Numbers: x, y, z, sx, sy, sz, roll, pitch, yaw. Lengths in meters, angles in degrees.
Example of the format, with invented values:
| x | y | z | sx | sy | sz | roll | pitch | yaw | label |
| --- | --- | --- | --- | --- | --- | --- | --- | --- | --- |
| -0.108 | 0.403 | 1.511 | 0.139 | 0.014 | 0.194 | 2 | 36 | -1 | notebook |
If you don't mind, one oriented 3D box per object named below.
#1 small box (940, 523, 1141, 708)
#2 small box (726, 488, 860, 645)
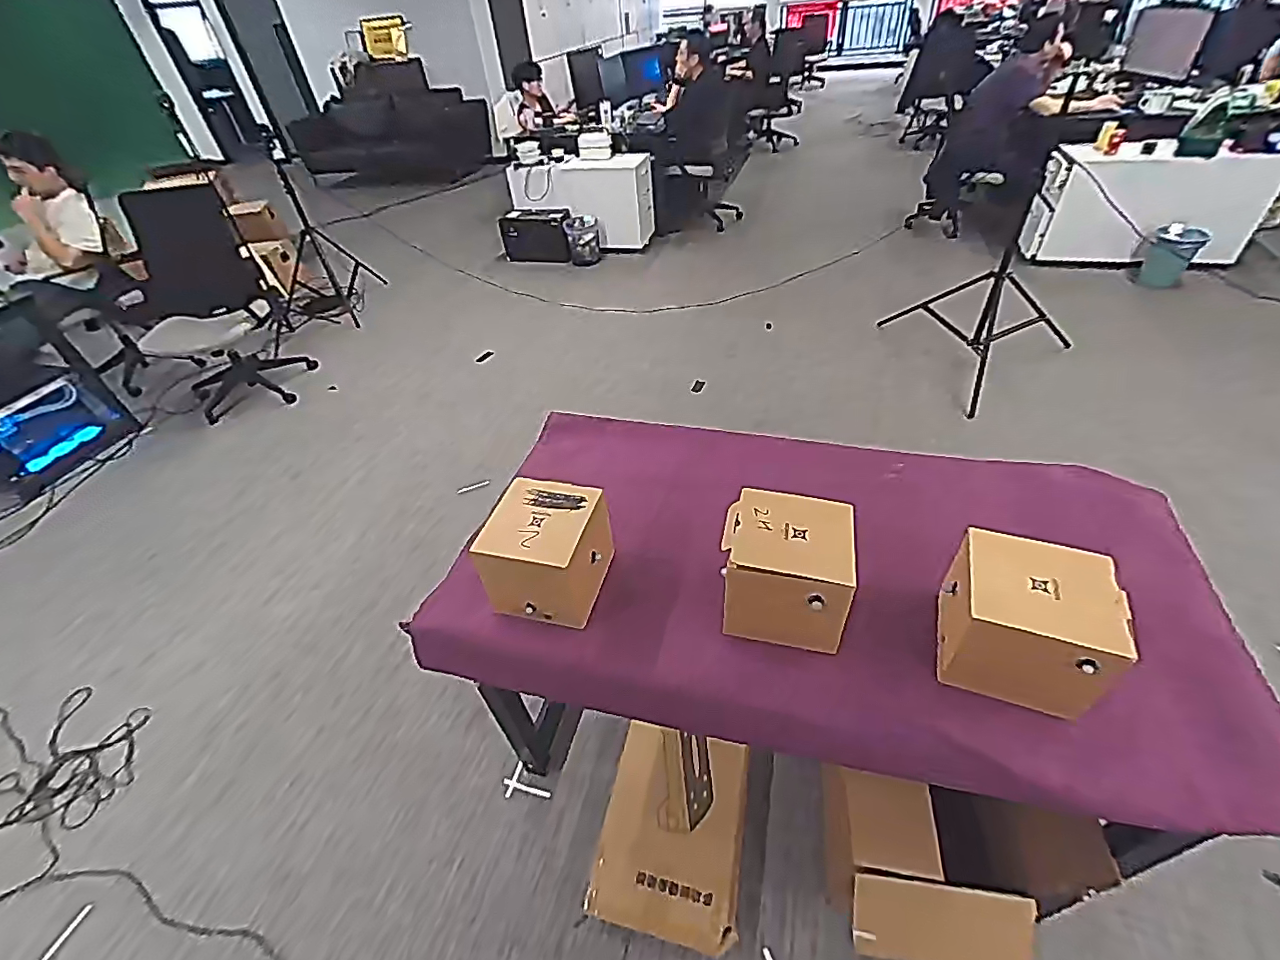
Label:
| x | y | z | sx | sy | sz | roll | pitch | yaw | label |
| --- | --- | --- | --- | --- | --- | --- | --- | --- | --- |
| 0.536 | 0.189 | 0.757 | 0.179 | 0.176 | 0.168 | 12 | 45 | 19 | small box |
| 0.236 | 0.136 | 0.850 | 0.179 | 0.176 | 0.168 | 7 | 41 | 14 | small box |
